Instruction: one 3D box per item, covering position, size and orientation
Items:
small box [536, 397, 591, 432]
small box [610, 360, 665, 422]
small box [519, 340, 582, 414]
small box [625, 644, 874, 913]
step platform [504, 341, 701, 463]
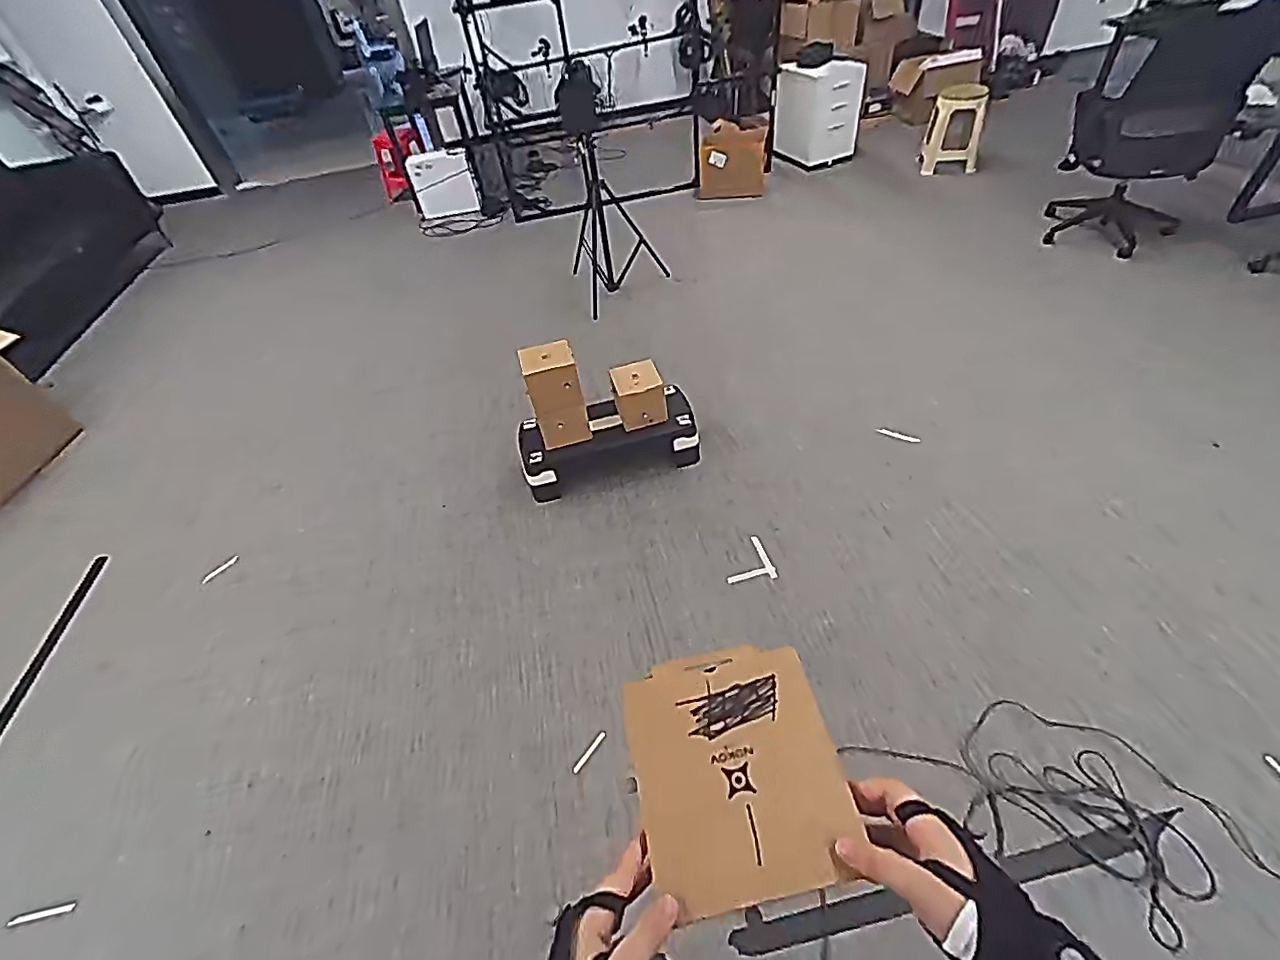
[{"bbox_3d":[-0.286,-0.242,1.989,0.179,0.176,0.168,-16,47,-6],"label":"small box"},{"bbox_3d":[-0.007,-0.316,2.014,0.168,0.176,0.179,-16,47,-5],"label":"small box"},{"bbox_3d":[-0.304,-0.354,1.870,0.179,0.176,0.168,-16,46,-7],"label":"small box"},{"bbox_3d":[0.083,0.282,0.508,0.168,0.176,0.179,-11,52,-4],"label":"small box"},{"bbox_3d":[-0.128,-0.282,1.952,0.684,0.204,0.286,-14,46,-5],"label":"step platform"}]
